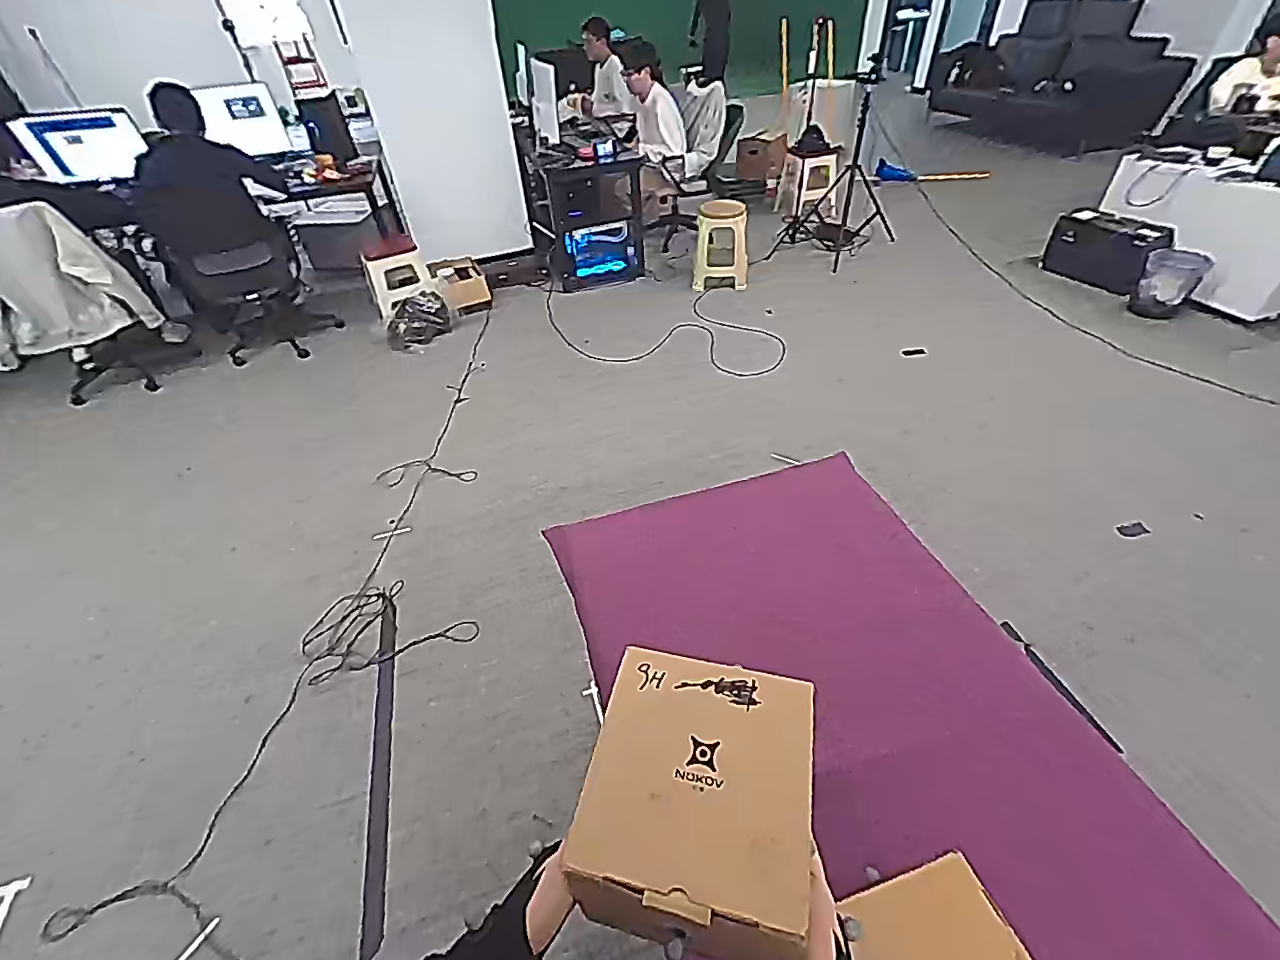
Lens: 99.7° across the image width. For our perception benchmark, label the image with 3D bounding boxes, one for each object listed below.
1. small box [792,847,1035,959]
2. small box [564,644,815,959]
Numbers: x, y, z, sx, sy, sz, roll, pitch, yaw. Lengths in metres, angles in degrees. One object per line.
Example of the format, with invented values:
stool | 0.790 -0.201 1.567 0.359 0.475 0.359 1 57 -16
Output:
small box | 0.255 0.483 0.500 0.179 0.176 0.168 -14 43 -11
small box | 0.051 0.274 0.463 0.168 0.176 0.179 8 44 12
